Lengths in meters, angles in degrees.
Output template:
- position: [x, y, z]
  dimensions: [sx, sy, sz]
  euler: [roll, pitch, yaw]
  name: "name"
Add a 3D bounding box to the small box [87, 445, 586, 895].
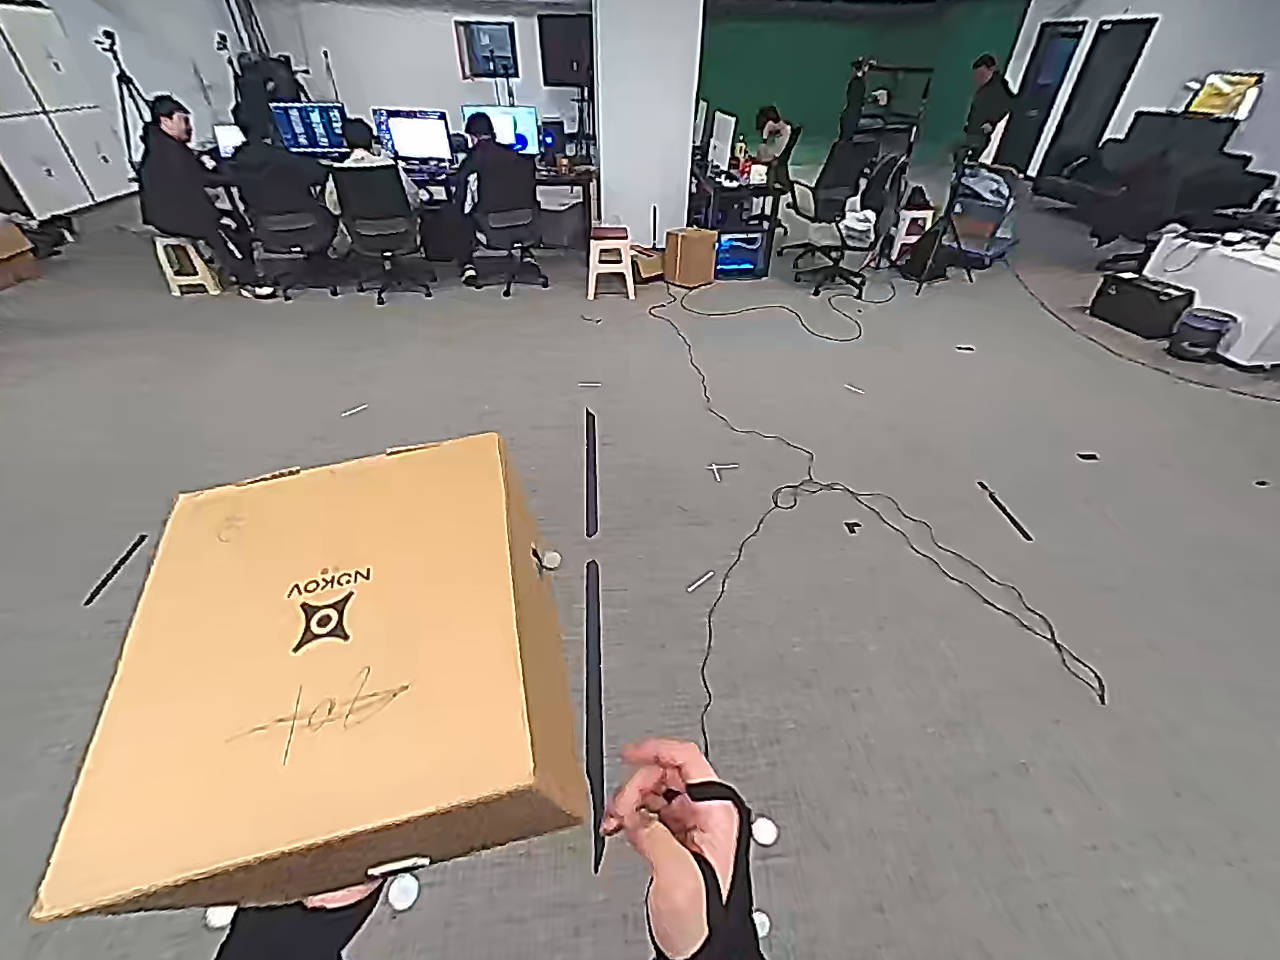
- position: [-0.133, 0.111, 0.312]
  dimensions: [0.168, 0.176, 0.179]
  euler: [-13, 54, -7]
  name: "small box"
